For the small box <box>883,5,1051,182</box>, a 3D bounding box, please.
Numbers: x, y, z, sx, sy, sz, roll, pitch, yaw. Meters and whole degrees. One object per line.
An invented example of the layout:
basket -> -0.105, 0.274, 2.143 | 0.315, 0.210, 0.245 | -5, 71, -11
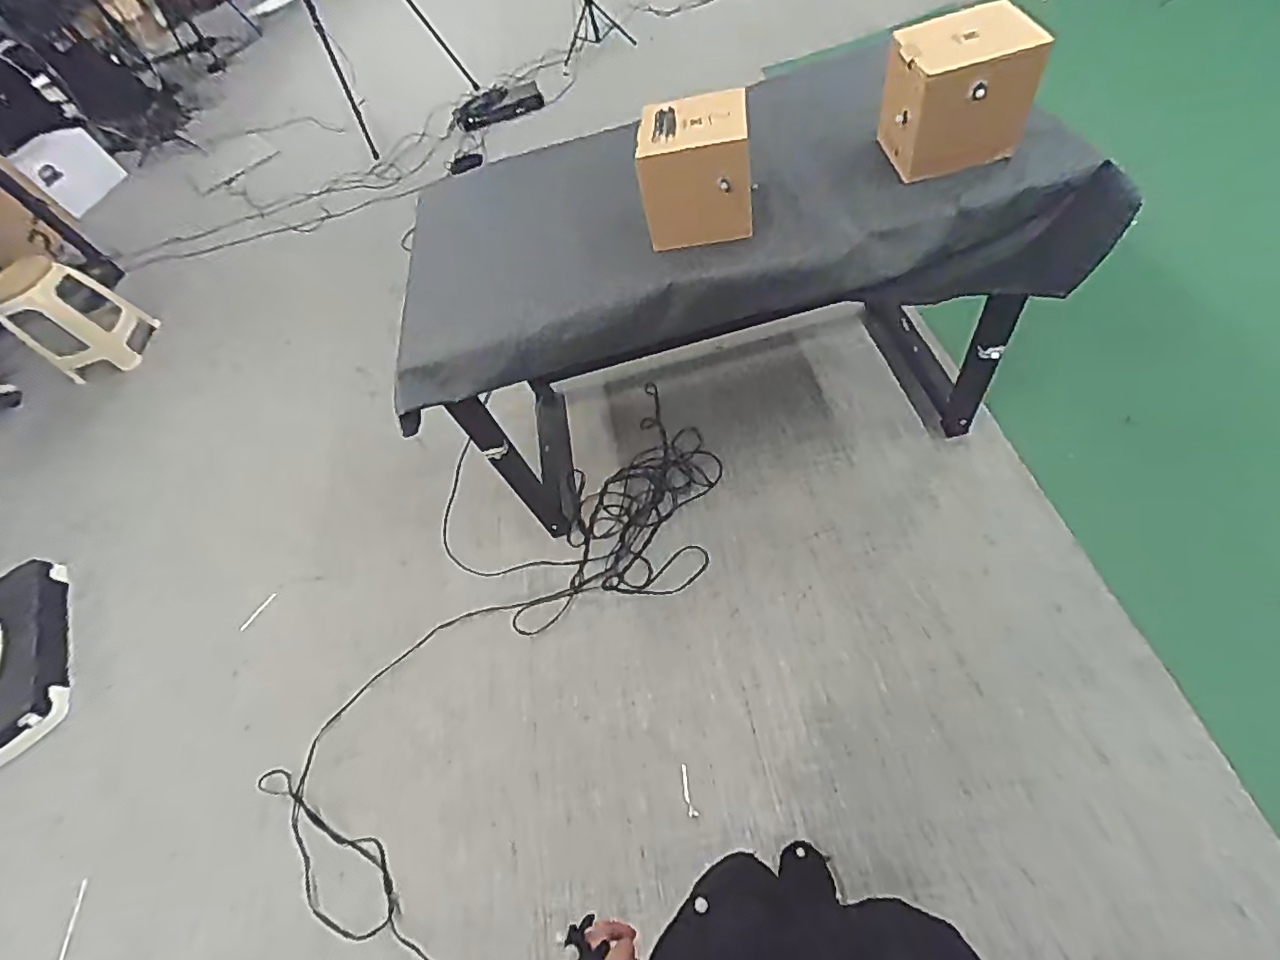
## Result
small box -> 0.512, -0.621, 0.885 | 0.179, 0.176, 0.168 | -10, 57, 8
